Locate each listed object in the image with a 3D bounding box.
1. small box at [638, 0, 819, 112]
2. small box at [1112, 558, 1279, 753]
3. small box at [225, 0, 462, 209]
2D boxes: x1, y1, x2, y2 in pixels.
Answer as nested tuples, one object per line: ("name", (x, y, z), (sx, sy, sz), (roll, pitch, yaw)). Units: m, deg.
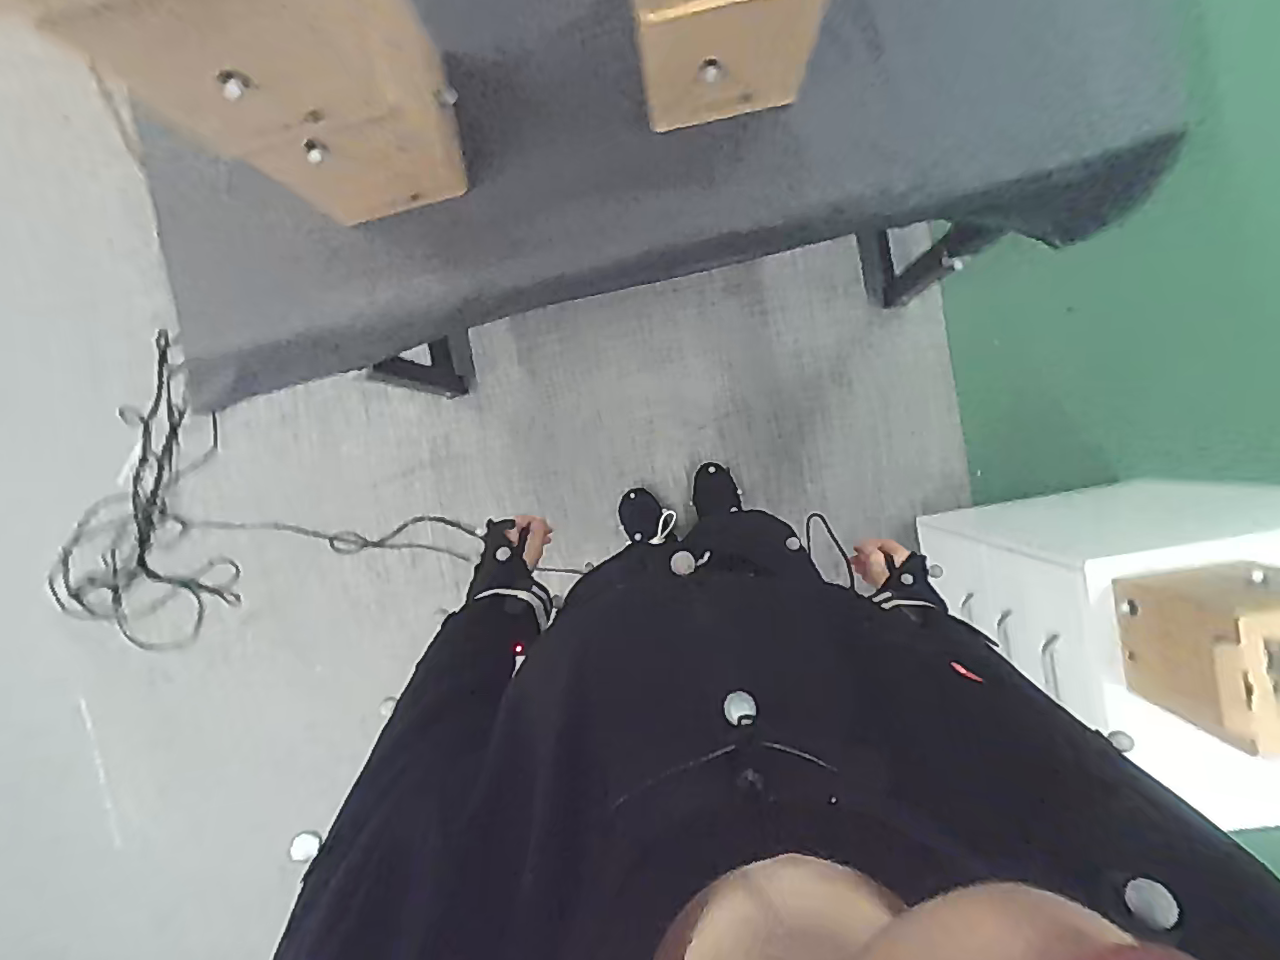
("small box", (0.079, -0.503, 0.536), (0.168, 0.176, 0.179), (-9, 92, 5))
("small box", (0.722, 0.199, 0.655), (0.179, 0.176, 0.168), (-10, 93, 4))
("small box", (-0.310, -0.424, 0.570), (0.168, 0.176, 0.179), (-11, 91, 5))
